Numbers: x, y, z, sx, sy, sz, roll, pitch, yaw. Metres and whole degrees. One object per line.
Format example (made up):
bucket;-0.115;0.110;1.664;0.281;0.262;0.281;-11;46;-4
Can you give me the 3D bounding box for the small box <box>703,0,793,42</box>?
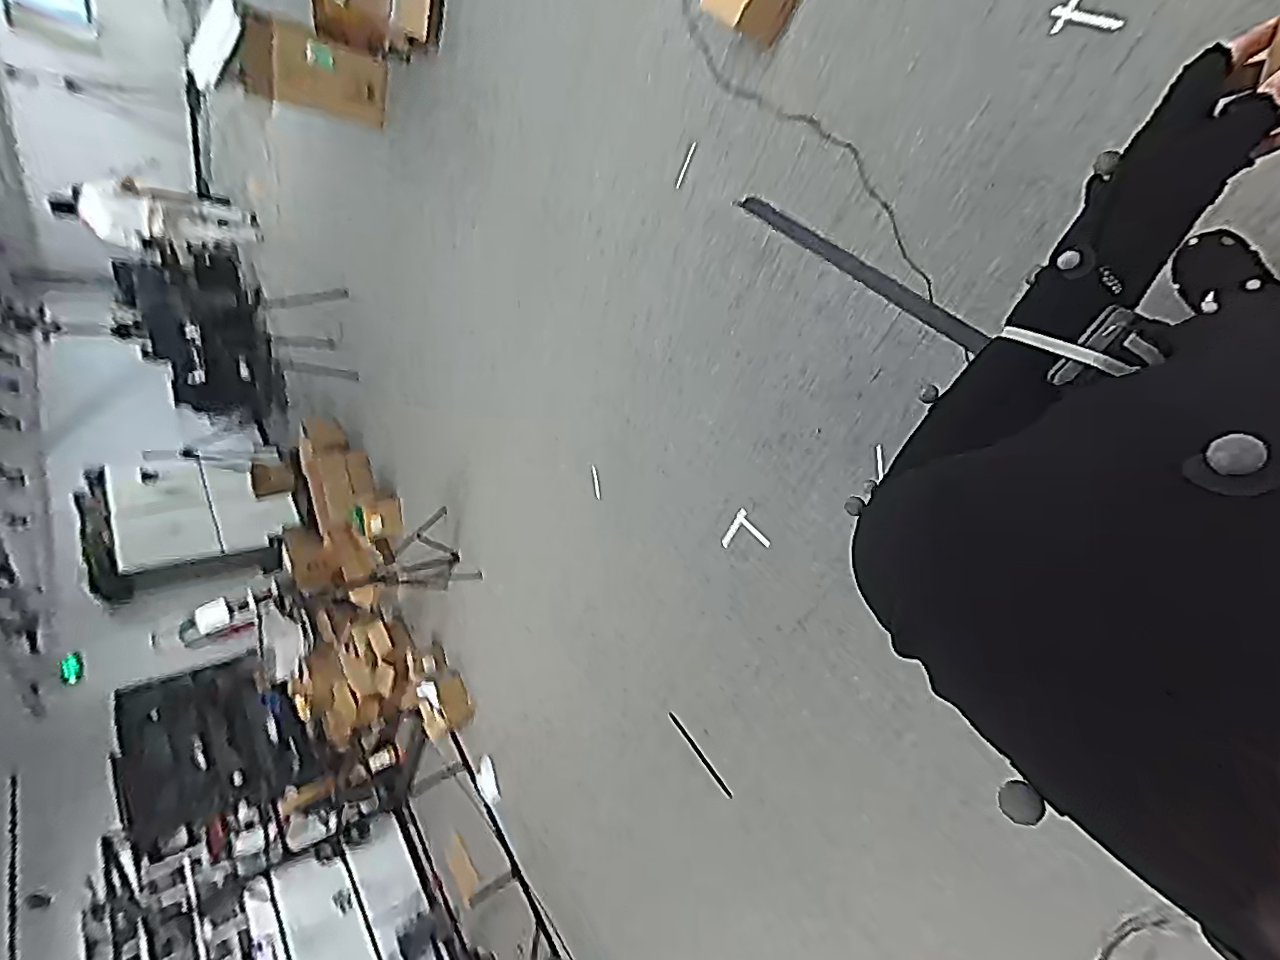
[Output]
small box;0.315;-1.374;1.513;0.179;0.176;0.168;55;132;24
